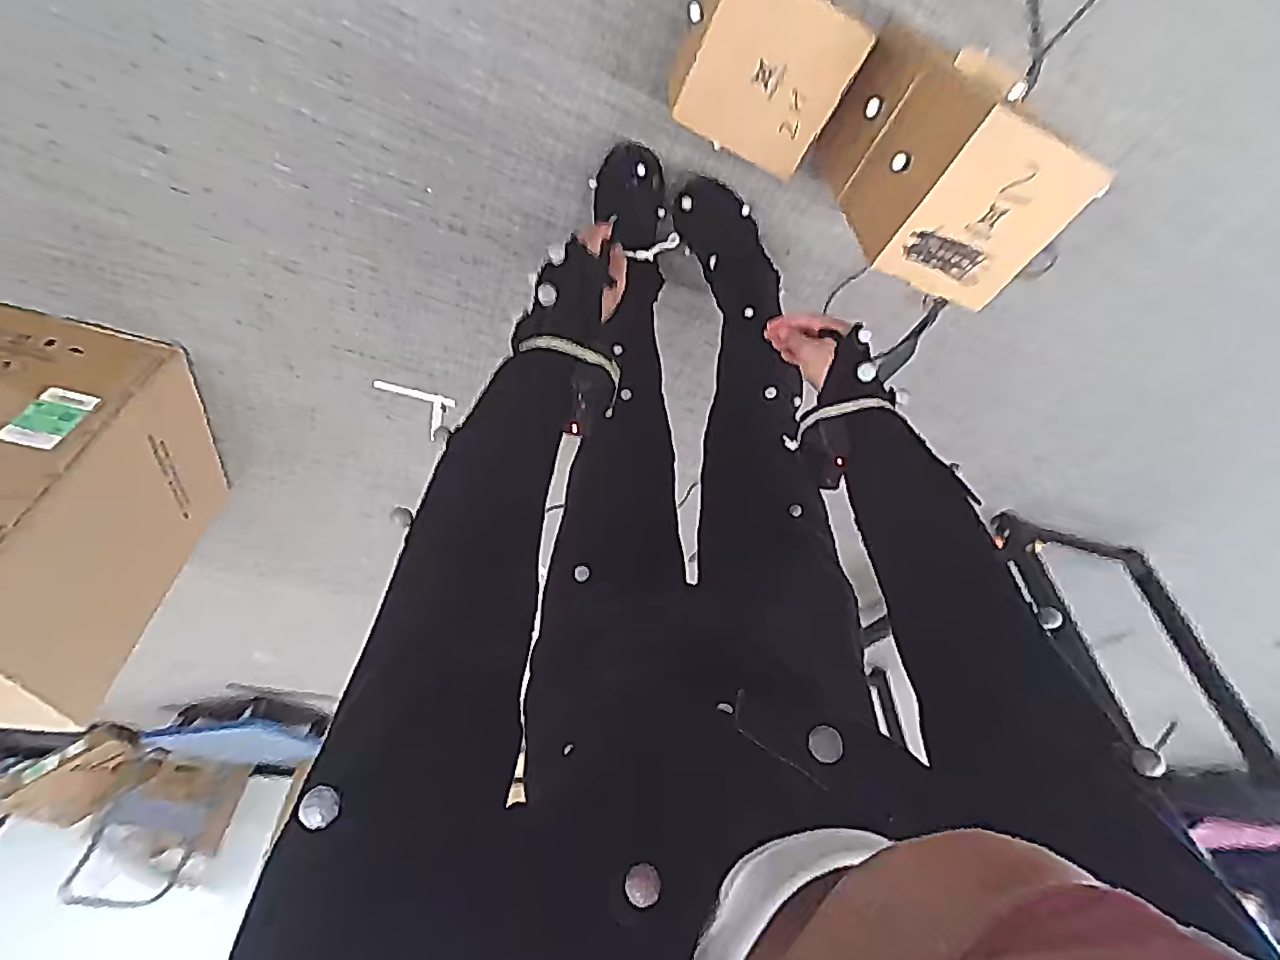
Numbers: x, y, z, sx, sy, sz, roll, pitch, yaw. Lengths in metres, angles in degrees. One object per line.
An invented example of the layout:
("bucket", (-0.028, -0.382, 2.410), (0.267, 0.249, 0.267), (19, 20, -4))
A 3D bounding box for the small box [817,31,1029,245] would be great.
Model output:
("small box", (0.367, -0.468, 0.742), (0.168, 0.176, 0.179), (14, 139, -16))

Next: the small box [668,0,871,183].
("small box", (0.147, -0.521, 0.679), (0.179, 0.176, 0.168), (18, 137, -19))
